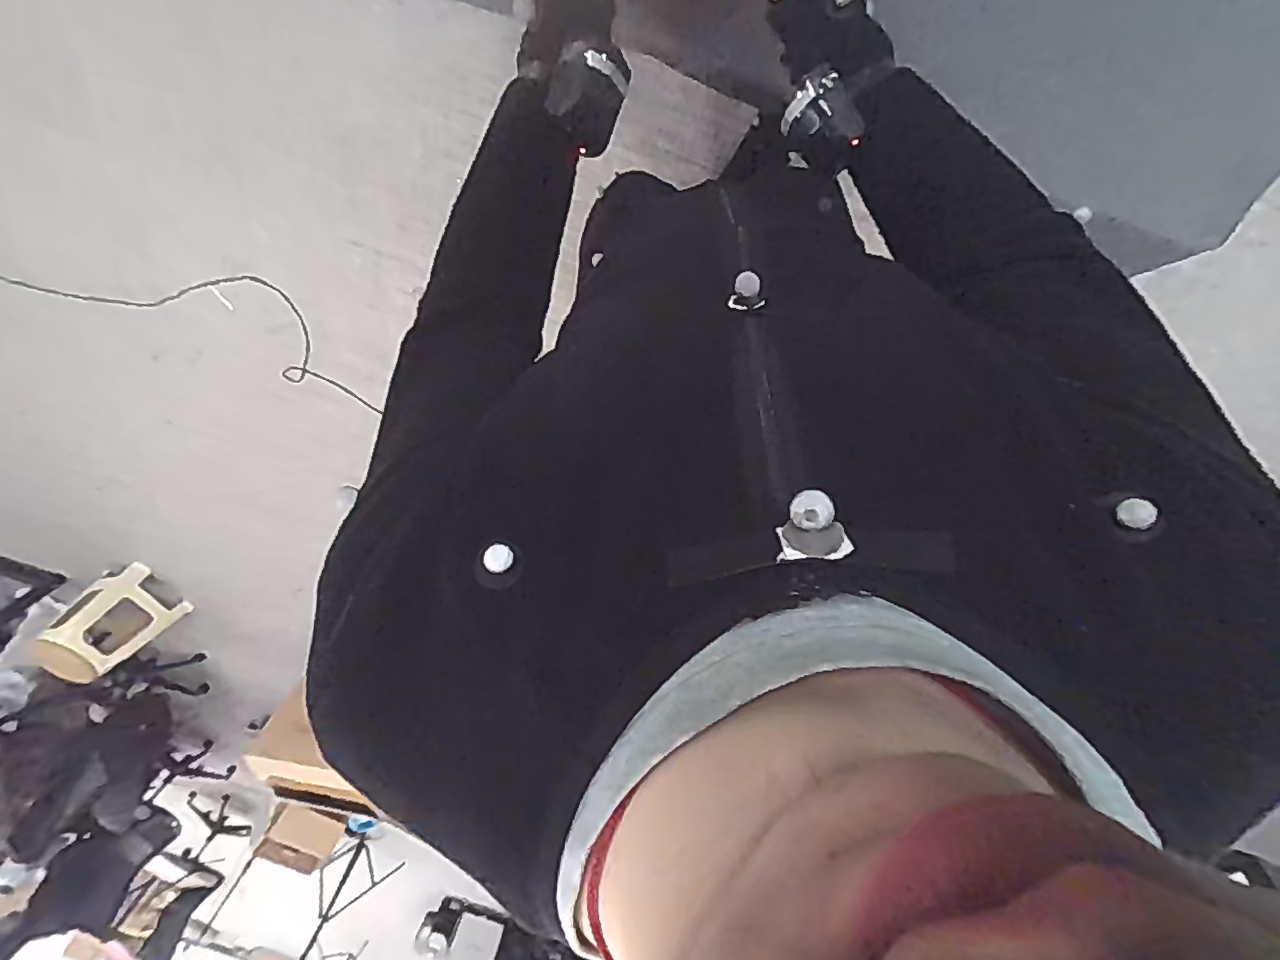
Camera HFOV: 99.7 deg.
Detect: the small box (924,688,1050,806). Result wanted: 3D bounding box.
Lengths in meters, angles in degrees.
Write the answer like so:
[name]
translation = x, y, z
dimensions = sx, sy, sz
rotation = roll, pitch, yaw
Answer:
[small box]
translation = 0.806, 0.631, 1.284
dimensions = 0.168, 0.176, 0.179
rotation = 20, 126, -4
